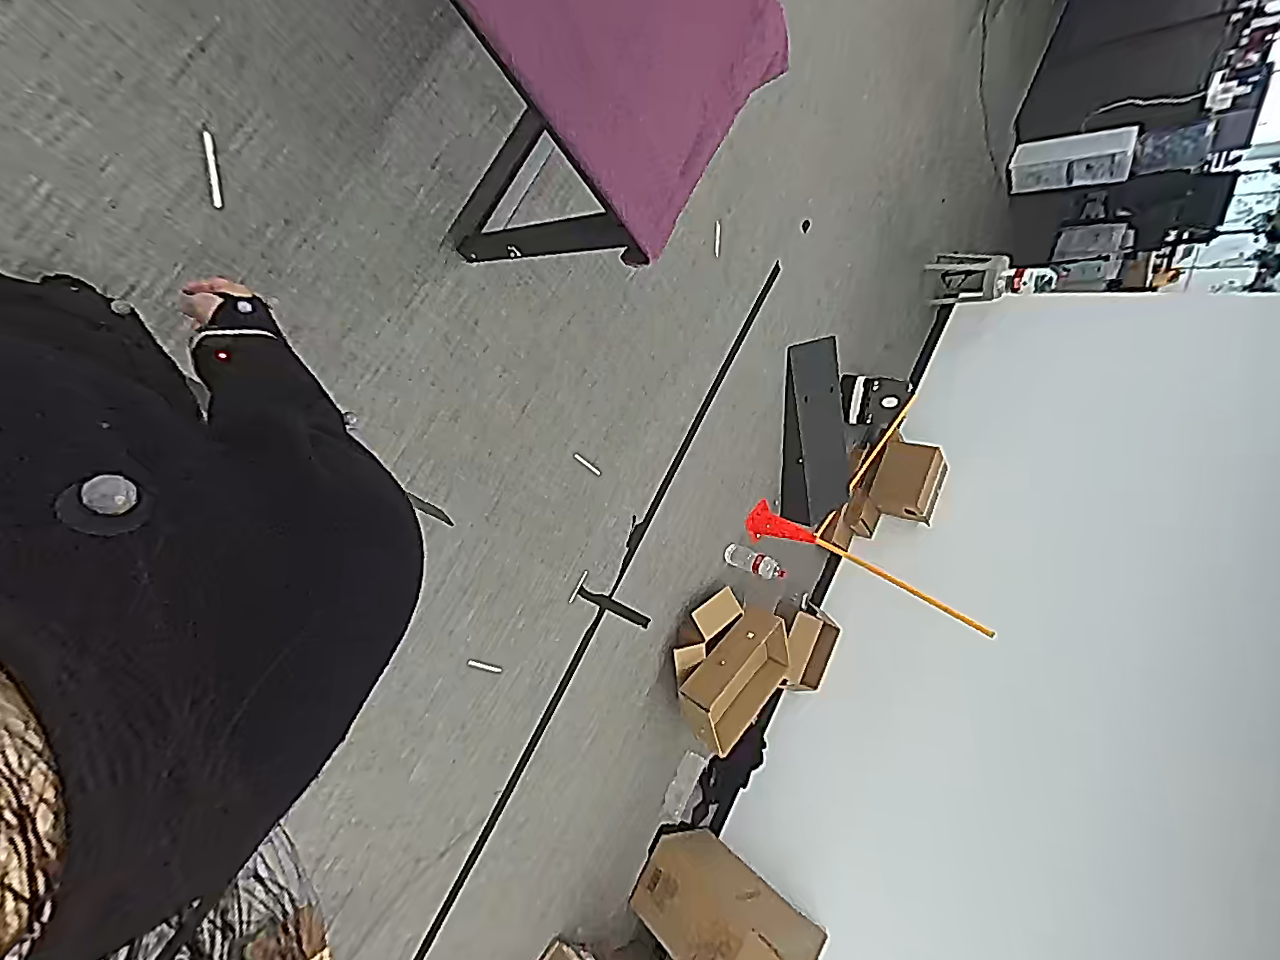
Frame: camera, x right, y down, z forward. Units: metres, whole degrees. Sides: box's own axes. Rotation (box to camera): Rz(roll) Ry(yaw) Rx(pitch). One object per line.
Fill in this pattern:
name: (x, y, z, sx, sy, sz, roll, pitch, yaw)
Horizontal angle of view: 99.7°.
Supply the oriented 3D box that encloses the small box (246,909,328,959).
small box: (-1.012, 1.397, 1.558, 0.168, 0.176, 0.179, -14, 114, -42)
